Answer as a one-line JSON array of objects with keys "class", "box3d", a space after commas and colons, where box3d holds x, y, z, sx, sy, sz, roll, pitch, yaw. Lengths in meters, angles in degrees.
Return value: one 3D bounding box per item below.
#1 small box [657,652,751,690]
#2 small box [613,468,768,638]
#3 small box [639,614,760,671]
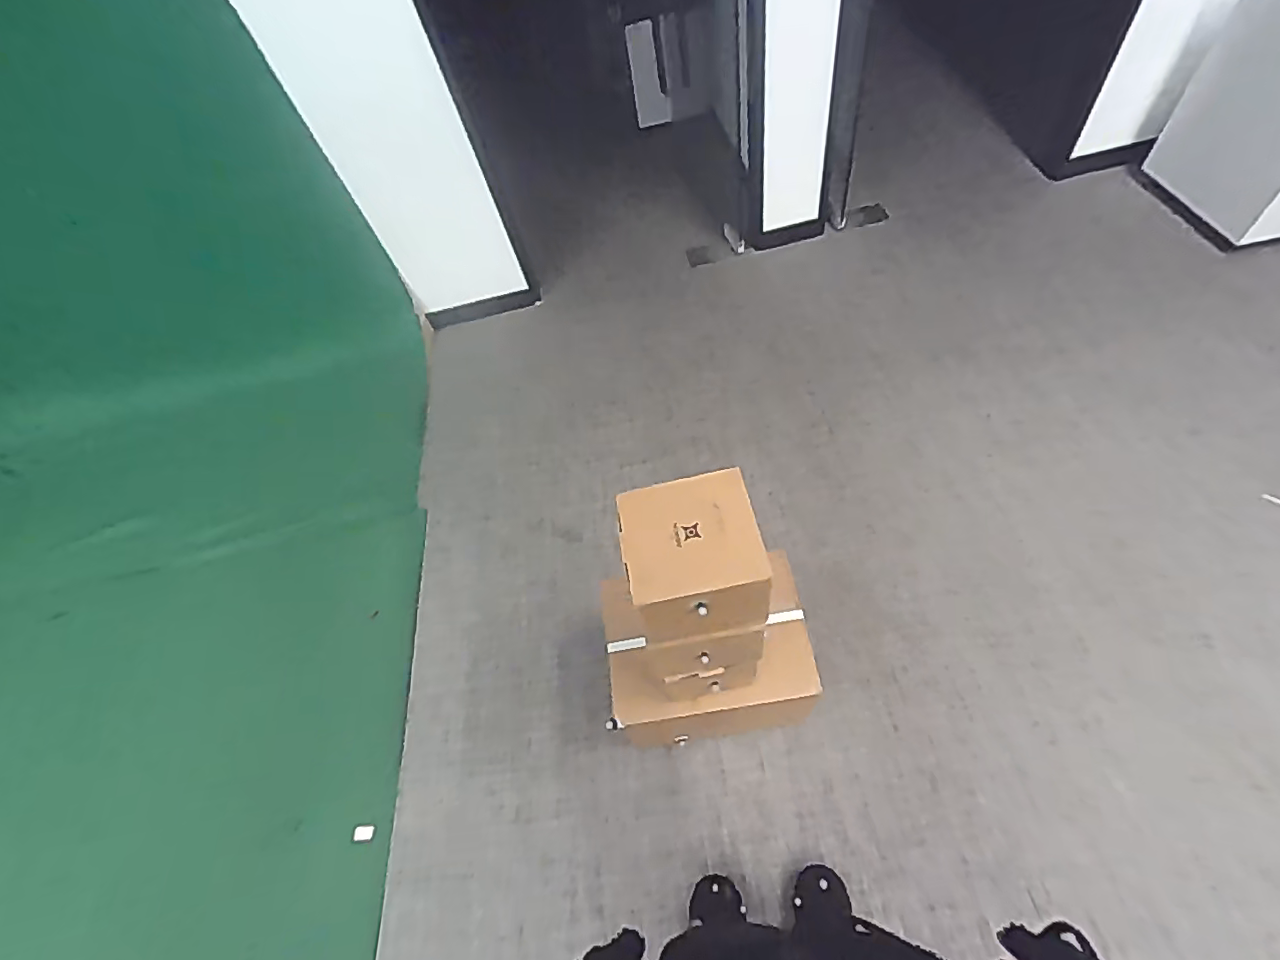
[{"class": "small box", "box3d": [0.110, 0.290, 1.029, 0.168, 0.176, 0.179, -14, 57, 2]}, {"class": "small box", "box3d": [0.071, 0.110, 0.760, 0.179, 0.176, 0.168, -12, 58, 2]}, {"class": "small box", "box3d": [0.092, 0.202, 0.891, 0.179, 0.176, 0.168, -12, 56, 5]}]
